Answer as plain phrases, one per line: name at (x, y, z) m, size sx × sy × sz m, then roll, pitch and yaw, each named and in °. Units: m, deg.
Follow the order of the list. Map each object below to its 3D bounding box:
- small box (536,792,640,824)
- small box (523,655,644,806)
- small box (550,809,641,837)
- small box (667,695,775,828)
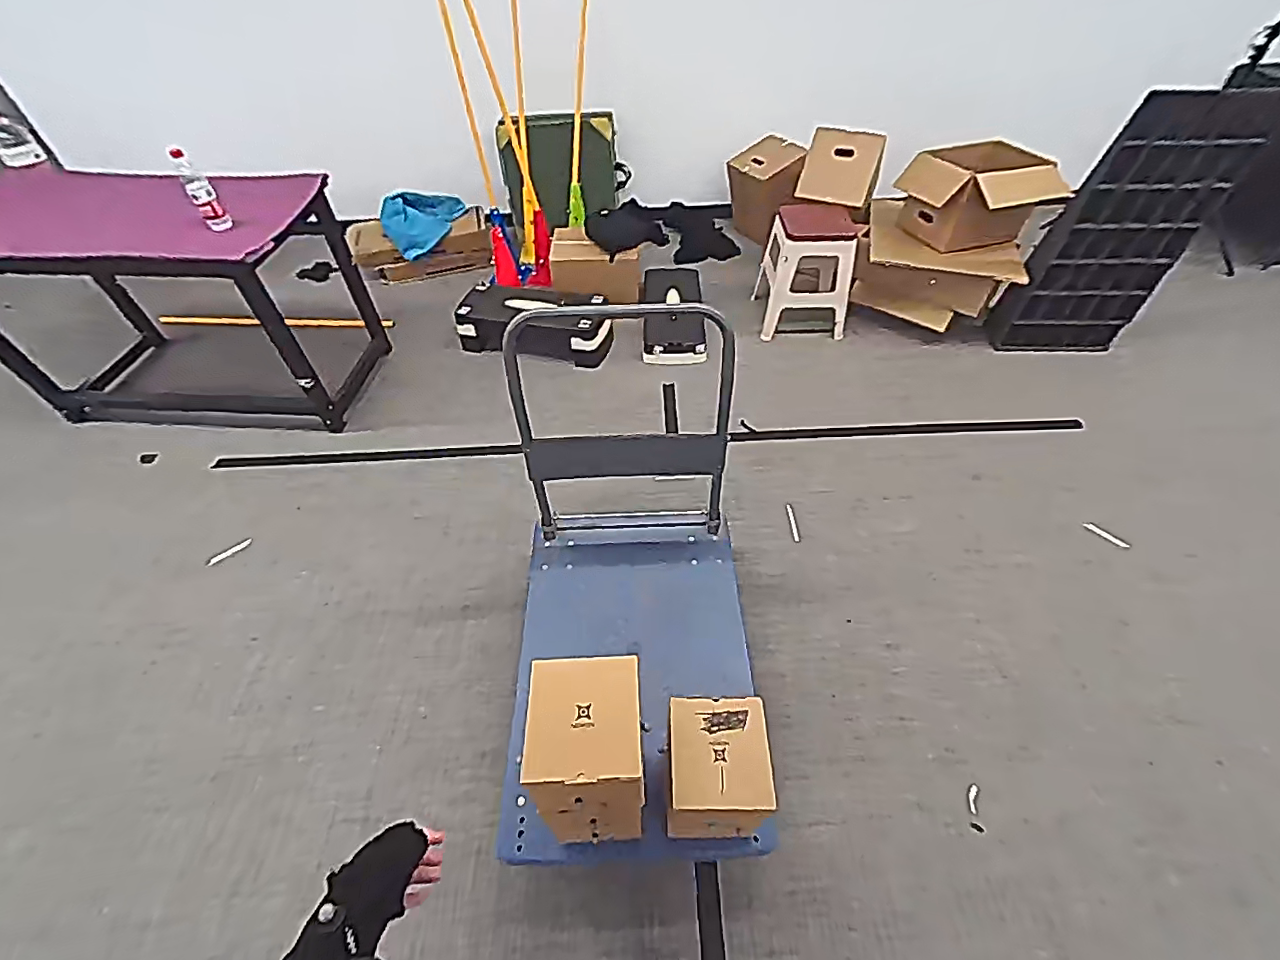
small box at (-0.087, 0.503, 0.968) m, size 0.168 × 0.176 × 0.179 m, roll -3°, pitch 50°, yaw -3°
small box at (-0.080, 0.393, 0.847) m, size 0.168 × 0.176 × 0.179 m, roll -2°, pitch 49°, yaw -1°
small box at (-0.084, 0.610, 1.093) m, size 0.168 × 0.176 × 0.179 m, roll -2°, pitch 49°, yaw -2°
small box at (0.134, 0.503, 0.964) m, size 0.168 × 0.176 × 0.179 m, roll 0°, pitch 50°, yaw 1°
